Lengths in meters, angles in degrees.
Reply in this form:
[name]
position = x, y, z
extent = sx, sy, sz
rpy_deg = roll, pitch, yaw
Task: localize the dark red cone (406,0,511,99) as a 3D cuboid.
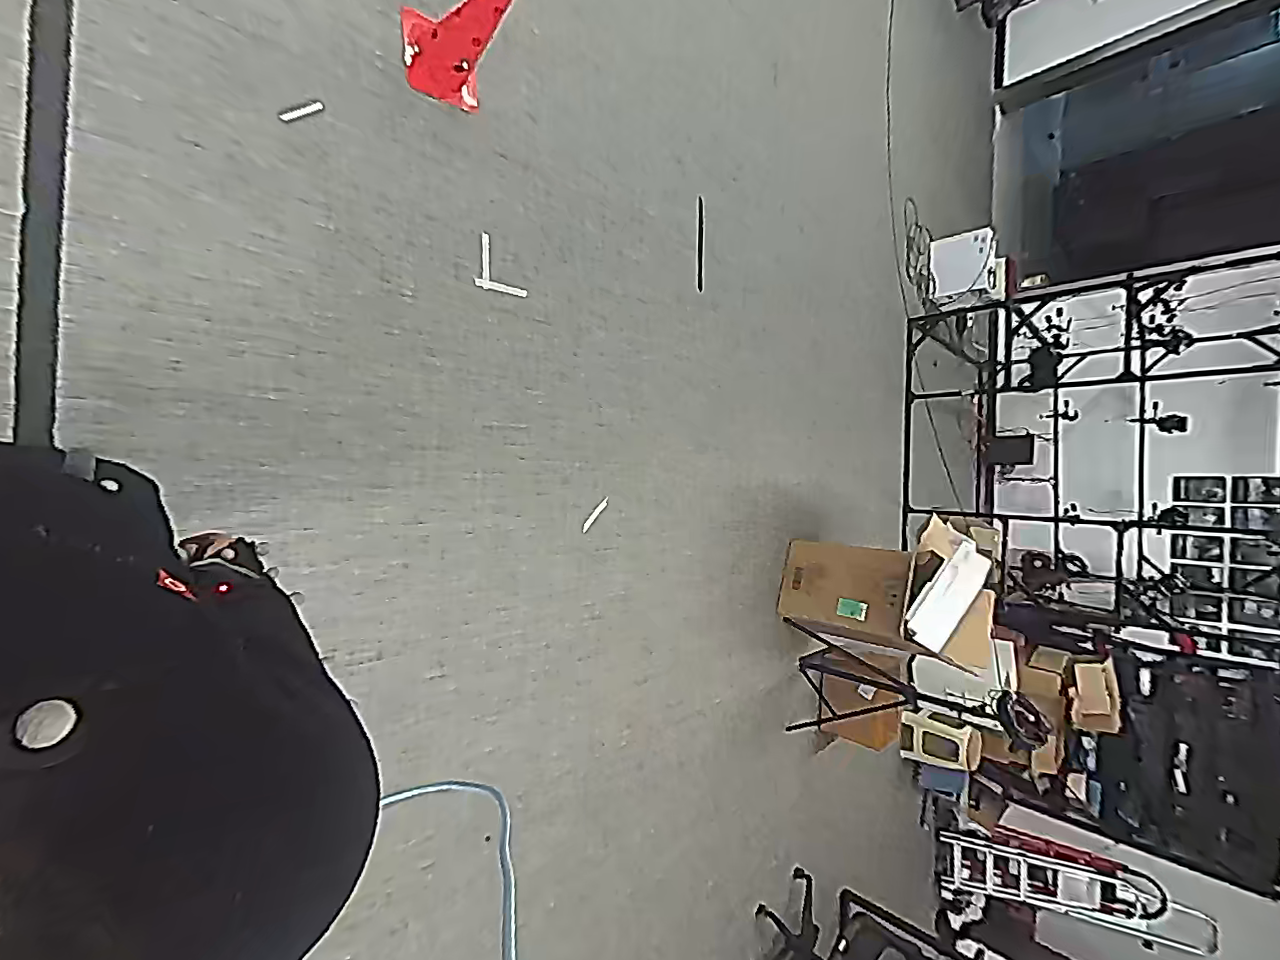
[dark red cone]
position = -0.395, -1.124, 1.302
extent = 0.201, 0.394, 0.202
rpy_deg = -9, 97, -44
